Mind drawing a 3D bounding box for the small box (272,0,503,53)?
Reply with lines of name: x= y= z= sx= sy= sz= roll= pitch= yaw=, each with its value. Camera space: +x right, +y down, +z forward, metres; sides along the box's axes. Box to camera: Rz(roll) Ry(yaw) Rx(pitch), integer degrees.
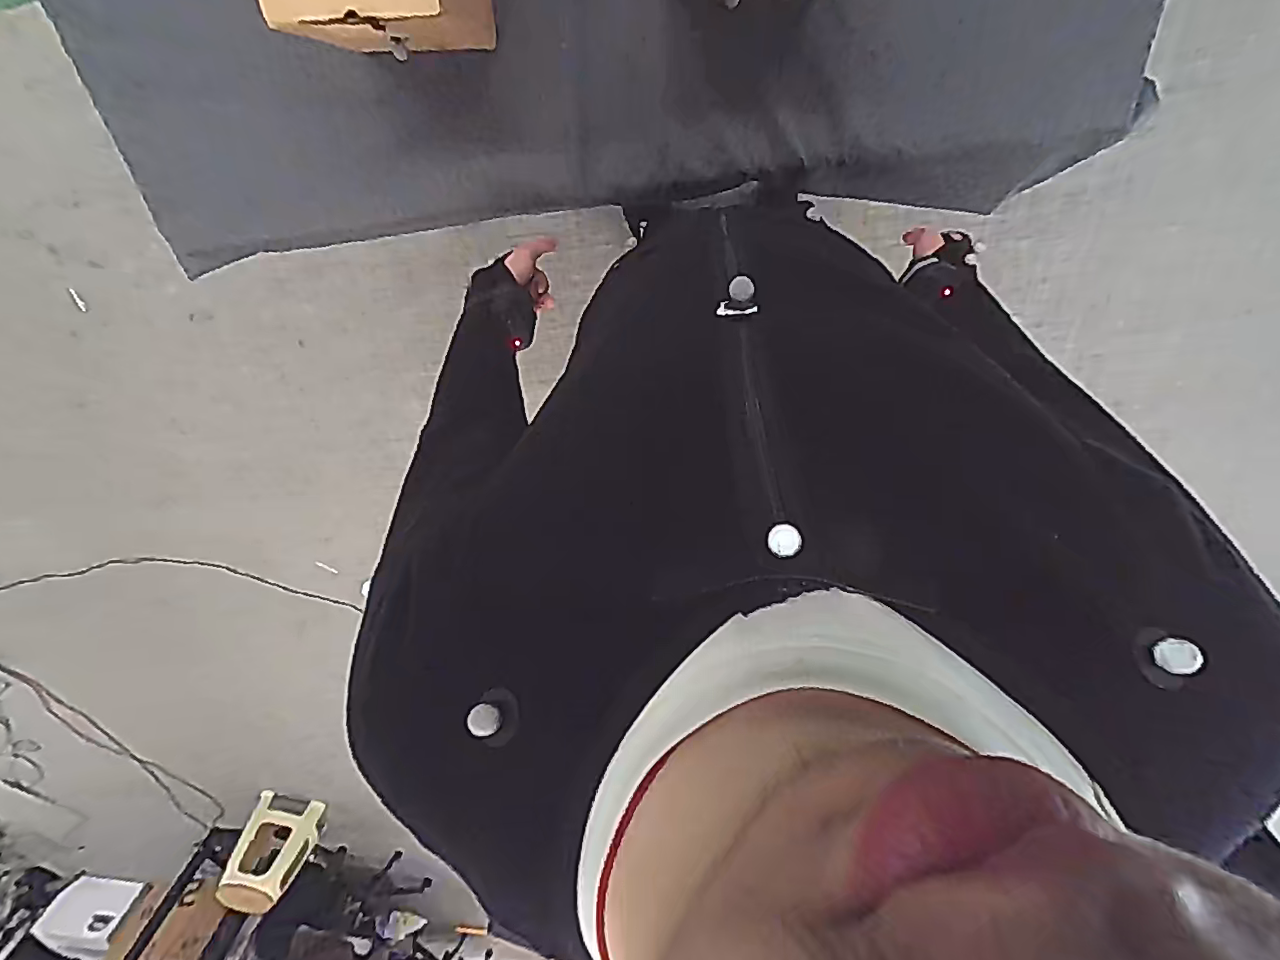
small box: x=-0.243 y=-0.522 z=0.508 sx=0.168 sy=0.176 sz=0.179 roll=0 pitch=121 yaw=7
